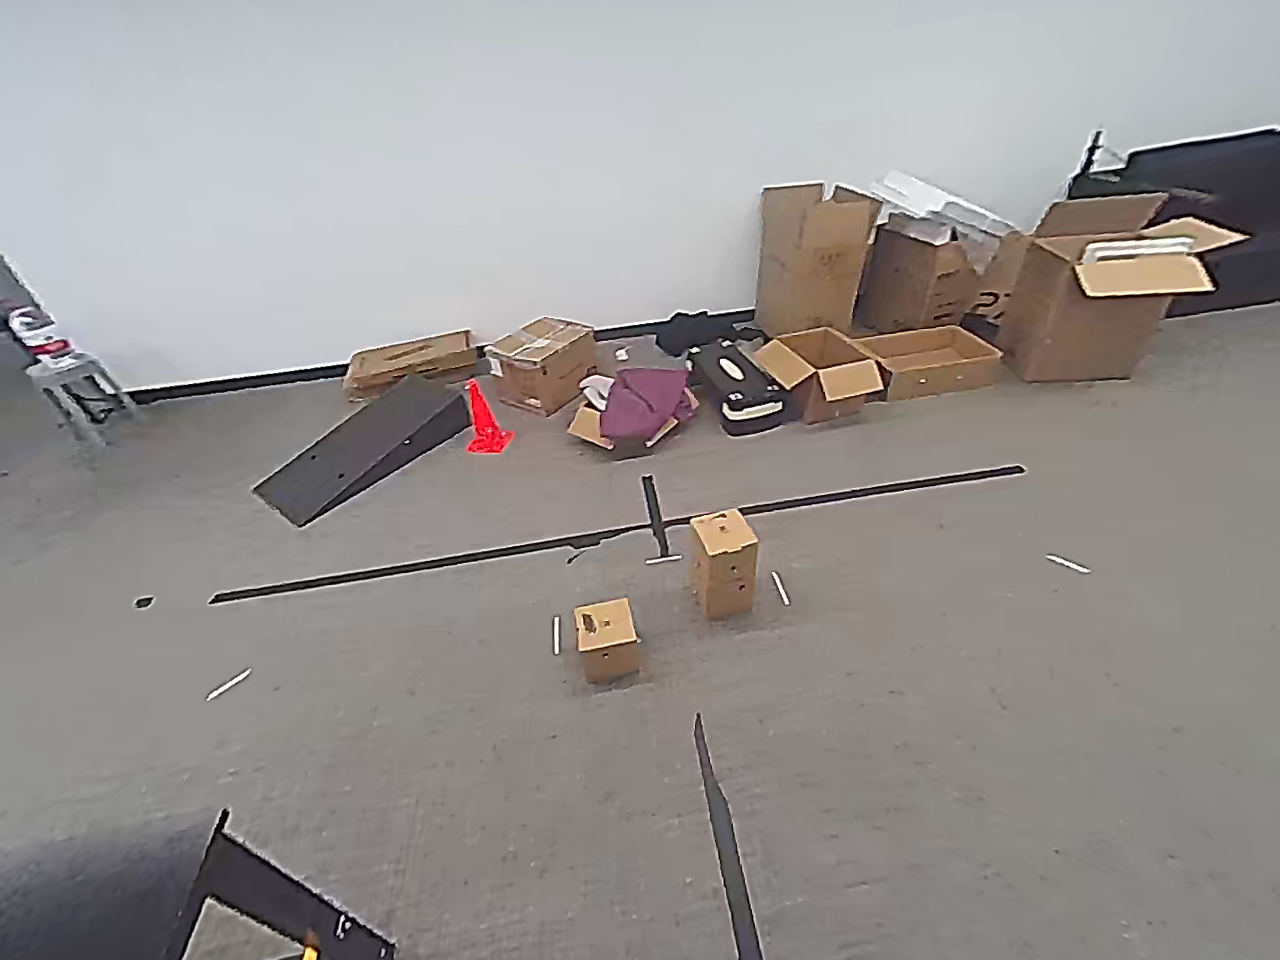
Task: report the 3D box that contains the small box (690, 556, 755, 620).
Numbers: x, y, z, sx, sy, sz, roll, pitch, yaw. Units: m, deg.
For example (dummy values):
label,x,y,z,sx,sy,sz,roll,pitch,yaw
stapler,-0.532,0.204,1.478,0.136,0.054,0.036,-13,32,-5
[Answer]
label,x,y,z,sx,sy,sz,roll,pitch,yaw
small box,0.279,0.353,1.865,0.179,0.176,0.168,-12,38,-8

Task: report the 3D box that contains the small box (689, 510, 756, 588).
label,x,y,z,sx,sy,sz,roll,pitch,yaw
small box,0.266,0.231,1.757,0.168,0.176,0.179,-13,39,-10

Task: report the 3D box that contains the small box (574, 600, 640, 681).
label,x,y,z,sx,sy,sz,roll,pitch,yaw
small box,-0.104,0.512,1.710,0.179,0.176,0.168,-10,38,-6
